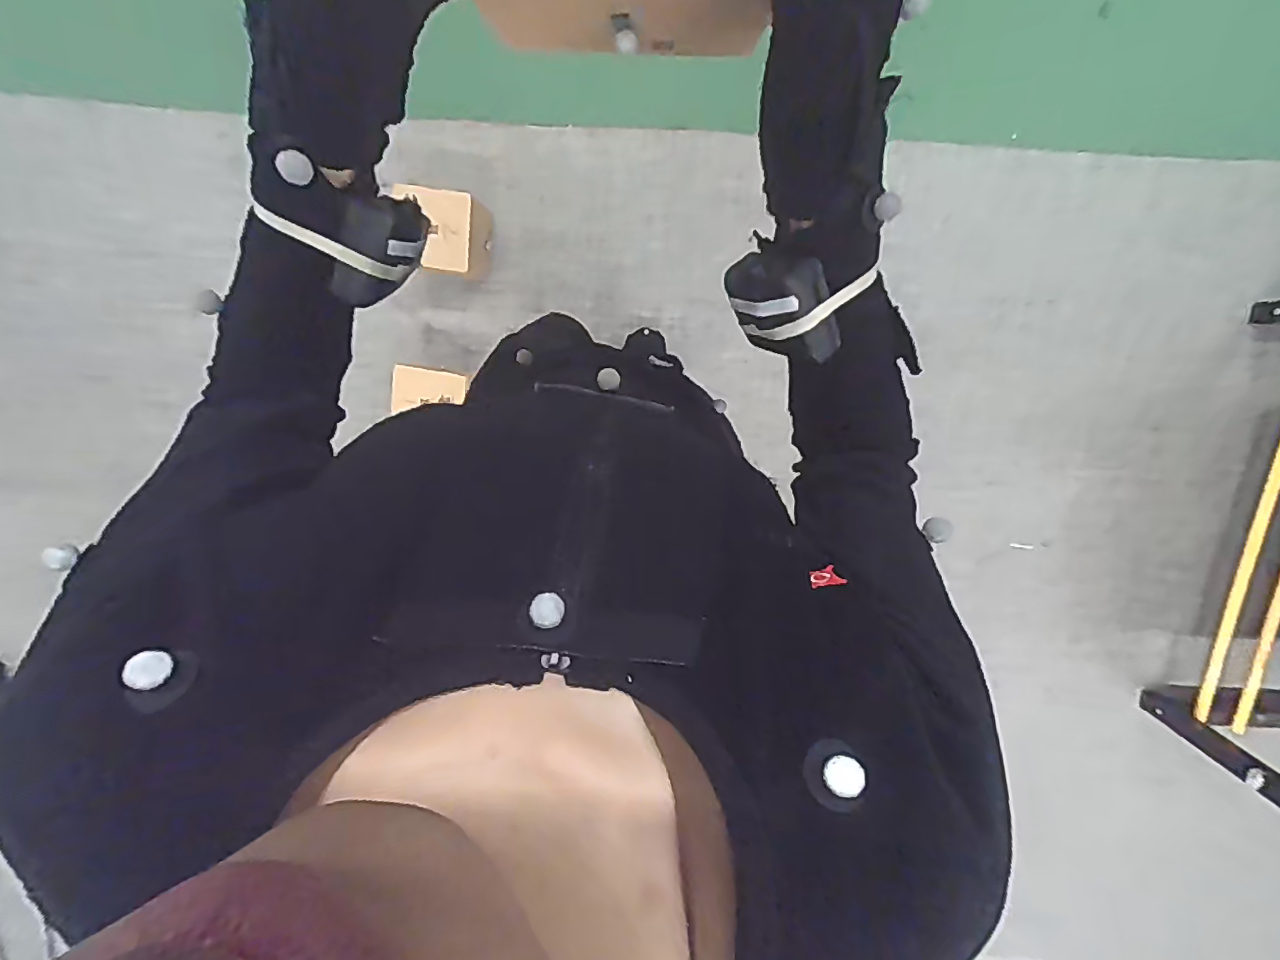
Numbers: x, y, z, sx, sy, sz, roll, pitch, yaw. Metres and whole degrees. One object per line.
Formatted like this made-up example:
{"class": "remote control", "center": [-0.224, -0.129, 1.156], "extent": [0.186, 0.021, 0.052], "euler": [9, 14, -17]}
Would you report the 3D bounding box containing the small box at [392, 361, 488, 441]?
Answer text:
{"class": "small box", "center": [-0.494, -0.203, 1.354], "extent": [0.179, 0.176, 0.168], "euler": [10, 103, -1]}
